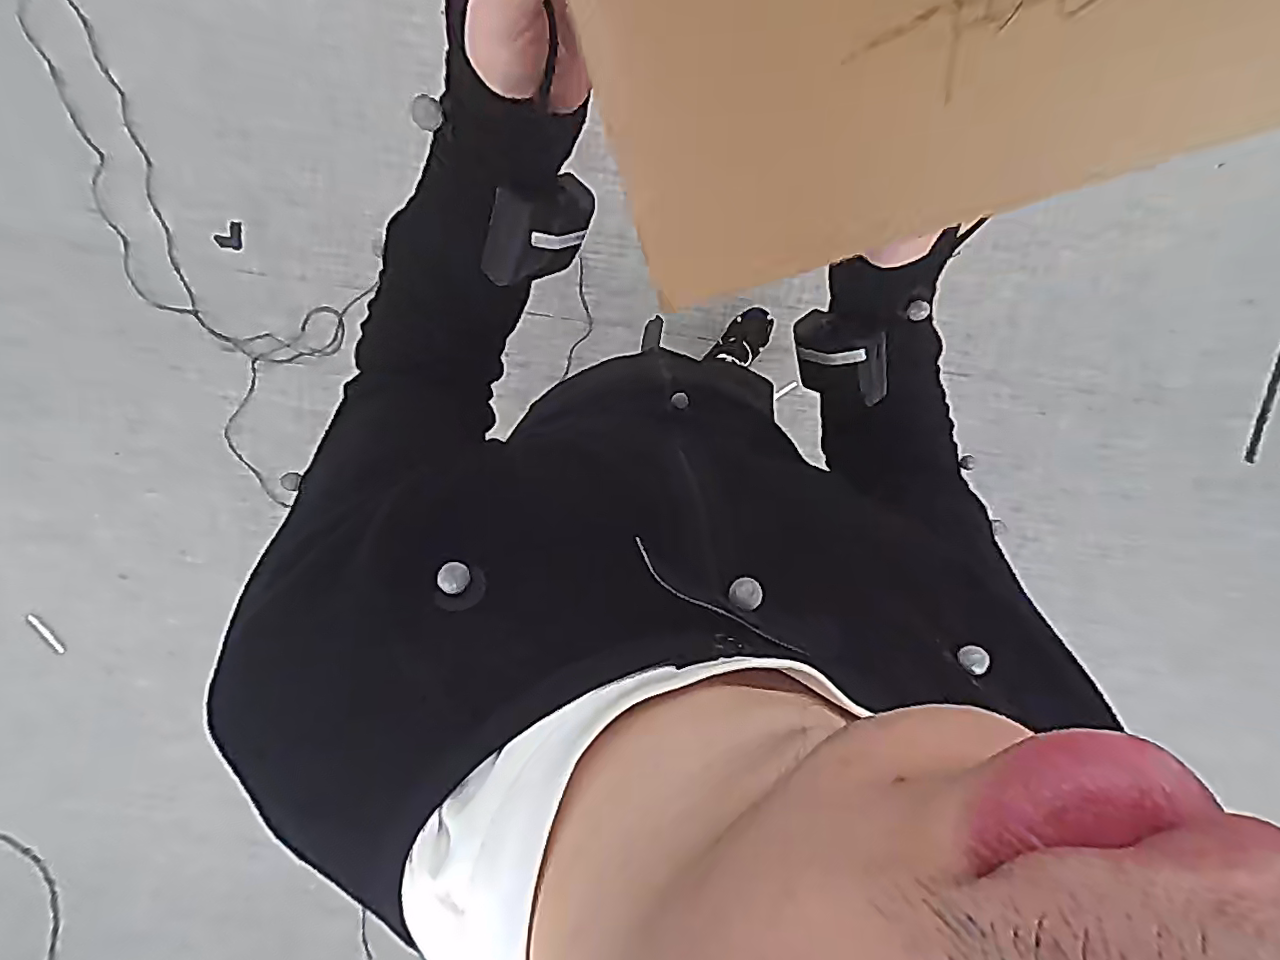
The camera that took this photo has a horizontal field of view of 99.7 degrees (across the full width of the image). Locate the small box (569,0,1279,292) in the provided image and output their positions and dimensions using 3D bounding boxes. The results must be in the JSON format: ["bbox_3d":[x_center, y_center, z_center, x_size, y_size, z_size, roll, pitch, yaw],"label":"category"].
[{"bbox_3d":[0.060,-0.189,0.158,0.168,0.176,0.179,-12,129,16],"label":"small box"}]
